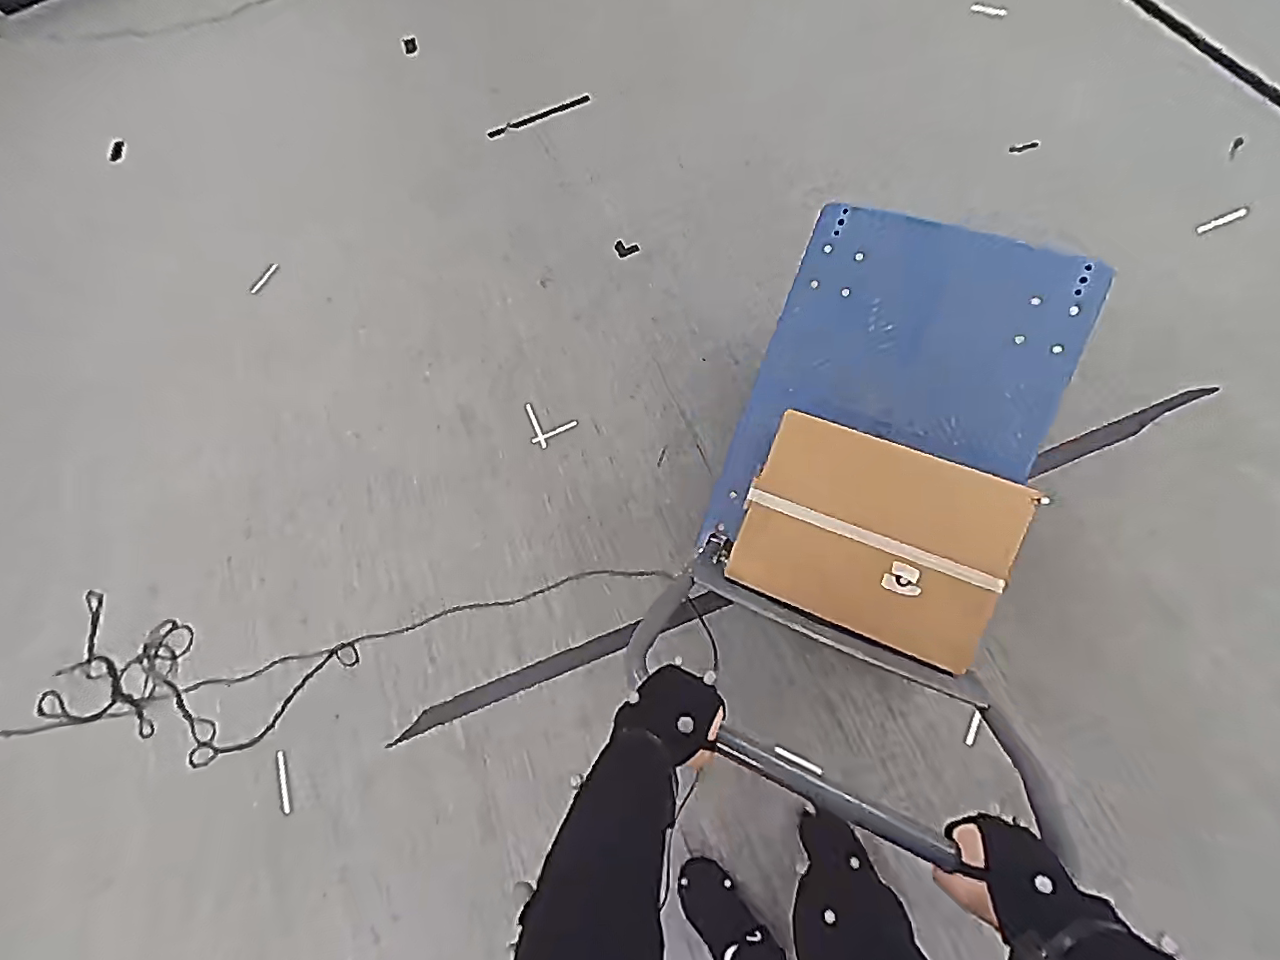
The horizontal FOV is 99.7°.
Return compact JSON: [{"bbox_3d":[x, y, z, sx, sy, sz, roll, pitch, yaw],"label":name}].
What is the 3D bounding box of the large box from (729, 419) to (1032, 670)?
[{"bbox_3d":[0.420,0.100,1.045,0.408,0.320,0.320,21,96,14],"label":"large box"}]
